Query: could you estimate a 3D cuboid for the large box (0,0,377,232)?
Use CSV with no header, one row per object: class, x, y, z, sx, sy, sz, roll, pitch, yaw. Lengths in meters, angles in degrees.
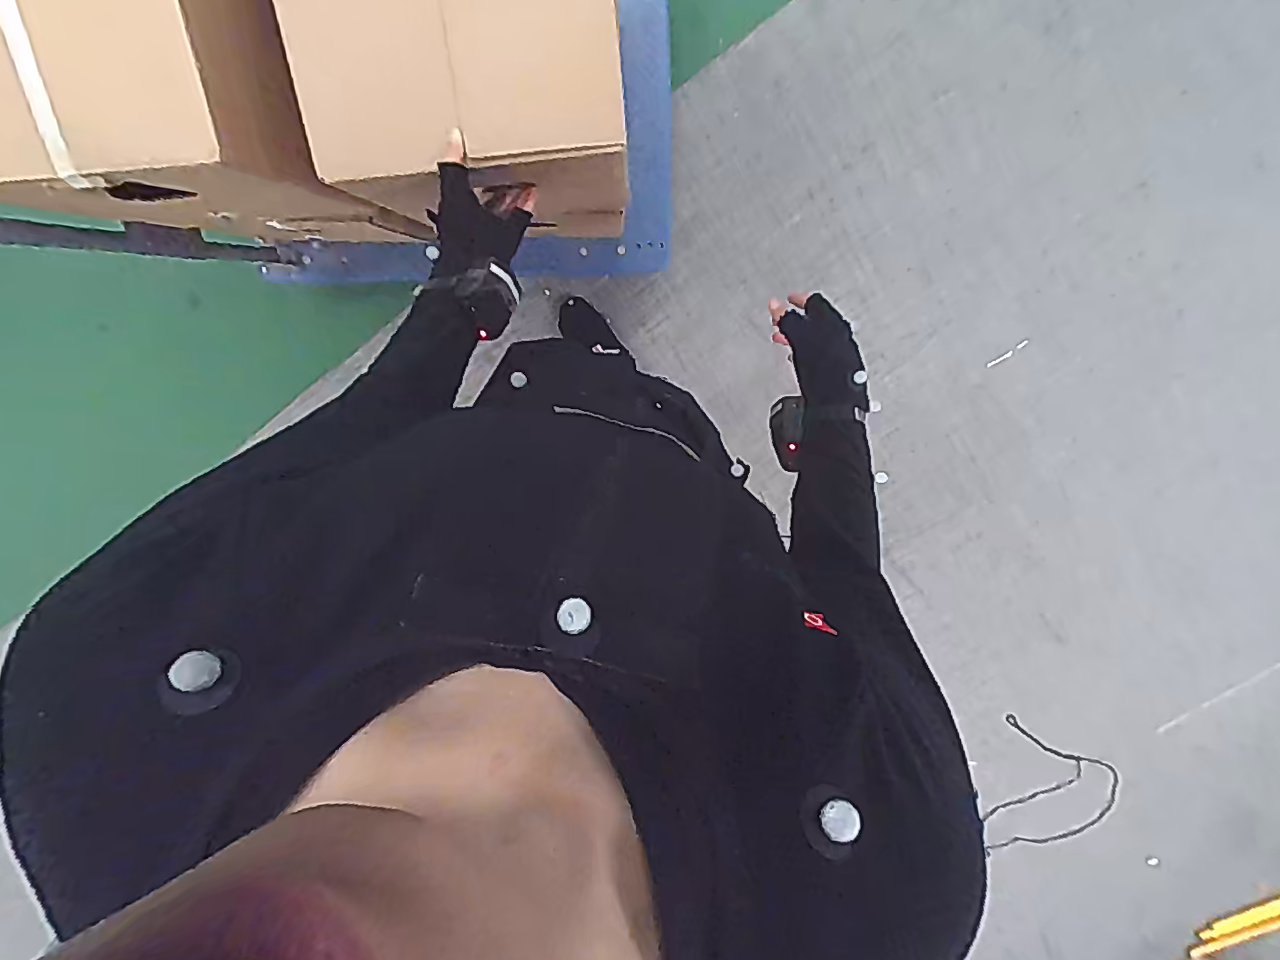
large box,-0.558,-0.530,0.611,0.320,0.320,0.408,-3,107,3
